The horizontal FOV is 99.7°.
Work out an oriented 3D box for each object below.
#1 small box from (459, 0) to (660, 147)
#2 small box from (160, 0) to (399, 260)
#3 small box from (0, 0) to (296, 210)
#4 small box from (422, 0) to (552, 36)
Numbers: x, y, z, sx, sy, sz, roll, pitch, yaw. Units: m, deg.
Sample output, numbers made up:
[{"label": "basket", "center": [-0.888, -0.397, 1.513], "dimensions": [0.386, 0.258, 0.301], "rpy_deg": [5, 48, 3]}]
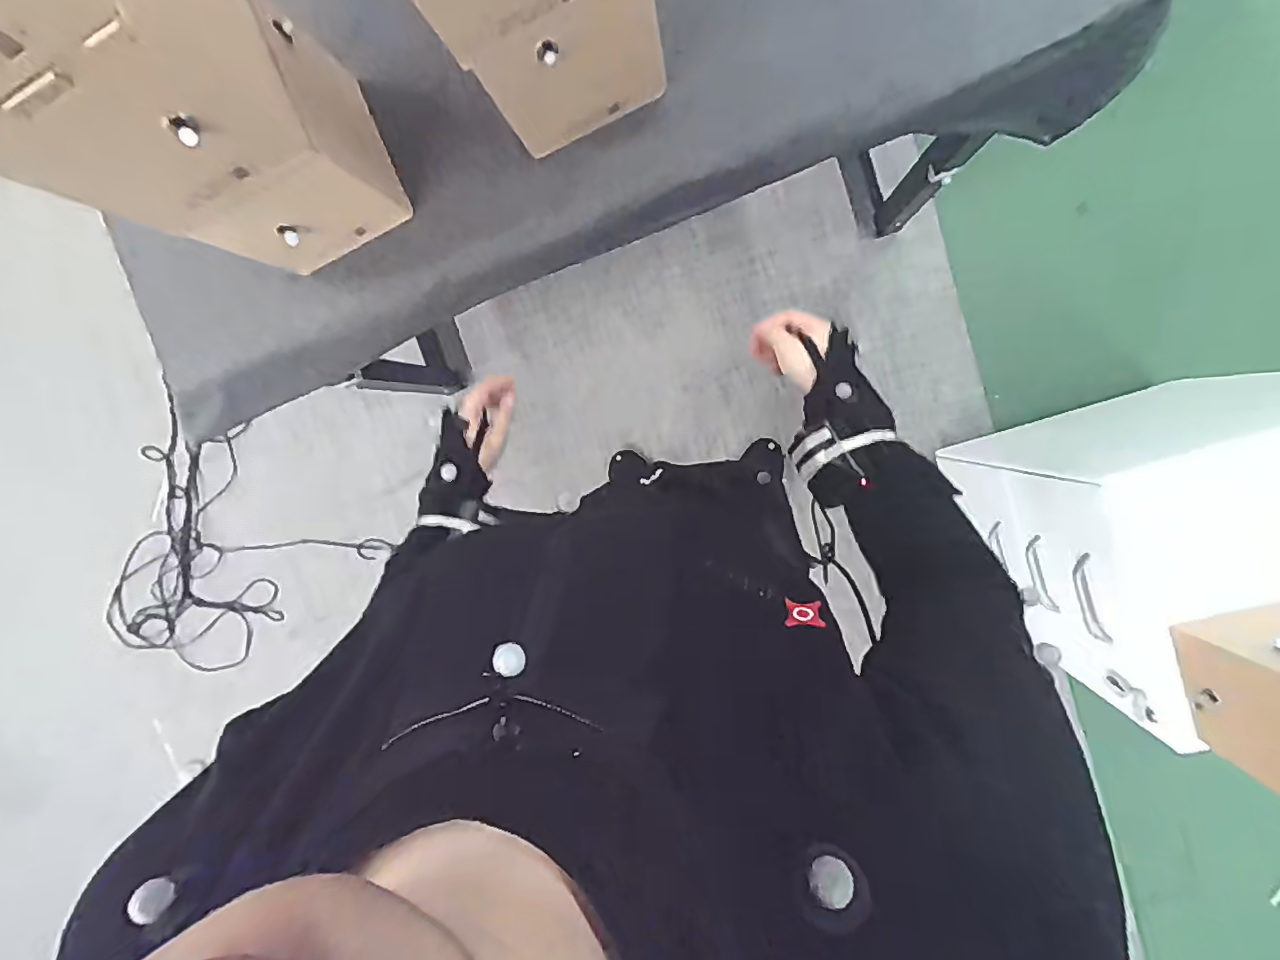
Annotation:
[{"label": "small box", "center": [-0.090, -0.470, 0.516], "dimensions": [0.168, 0.176, 0.179], "rpy_deg": [-21, 93, 9]}, {"label": "small box", "center": [-0.391, -0.354, 0.569], "dimensions": [0.168, 0.176, 0.179], "rpy_deg": [-22, 94, 8]}, {"label": "small box", "center": [-0.409, -0.334, 0.406], "dimensions": [0.168, 0.176, 0.179], "rpy_deg": [-24, 92, 8]}, {"label": "small box", "center": [-0.116, -0.446, 0.353], "dimensions": [0.168, 0.176, 0.179], "rpy_deg": [-21, 94, 8]}]
